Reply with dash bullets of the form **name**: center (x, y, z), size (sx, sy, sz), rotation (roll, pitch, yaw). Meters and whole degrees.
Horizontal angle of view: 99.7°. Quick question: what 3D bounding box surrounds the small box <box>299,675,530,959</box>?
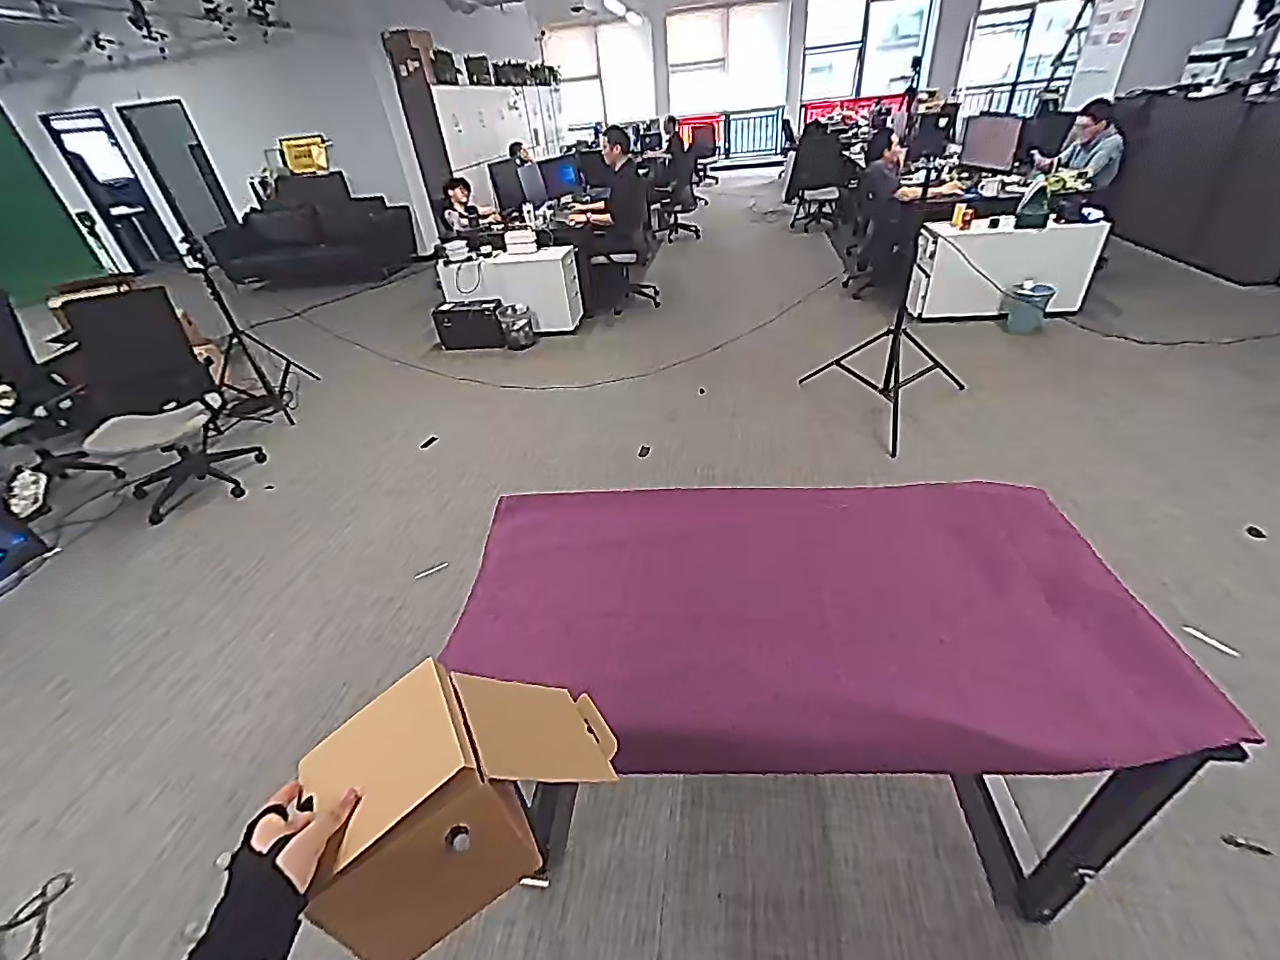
- **small box**: center (-0.236, 0.361, 0.590), size (0.179, 0.176, 0.168), rotation (-28, 31, -19)
